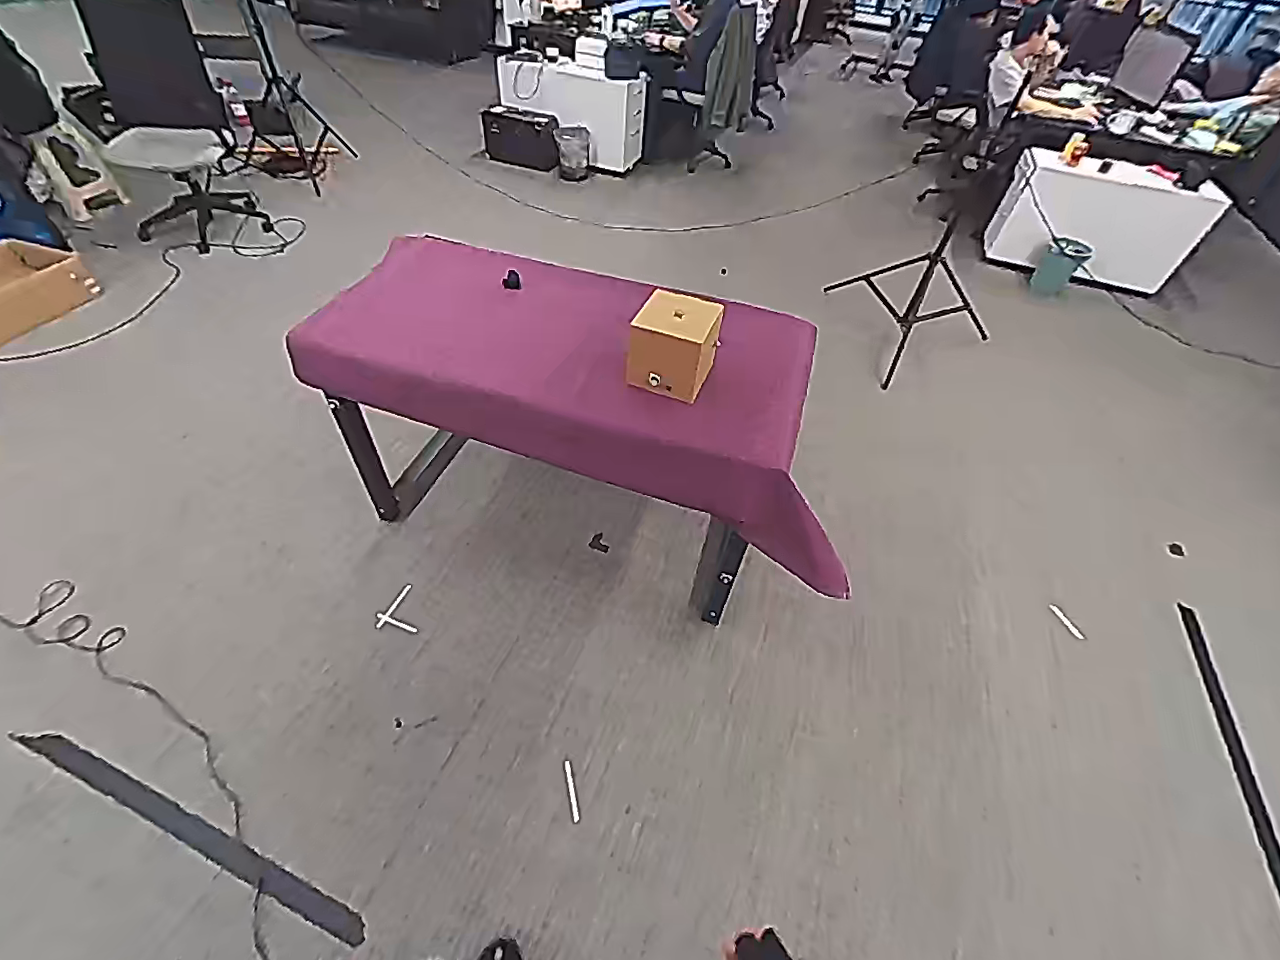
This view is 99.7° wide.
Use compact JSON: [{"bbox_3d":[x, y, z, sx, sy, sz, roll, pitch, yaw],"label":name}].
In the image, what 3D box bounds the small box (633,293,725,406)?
[{"bbox_3d":[0.086,-0.304,1.259,0.168,0.176,0.179,17,49,12],"label":"small box"}]
